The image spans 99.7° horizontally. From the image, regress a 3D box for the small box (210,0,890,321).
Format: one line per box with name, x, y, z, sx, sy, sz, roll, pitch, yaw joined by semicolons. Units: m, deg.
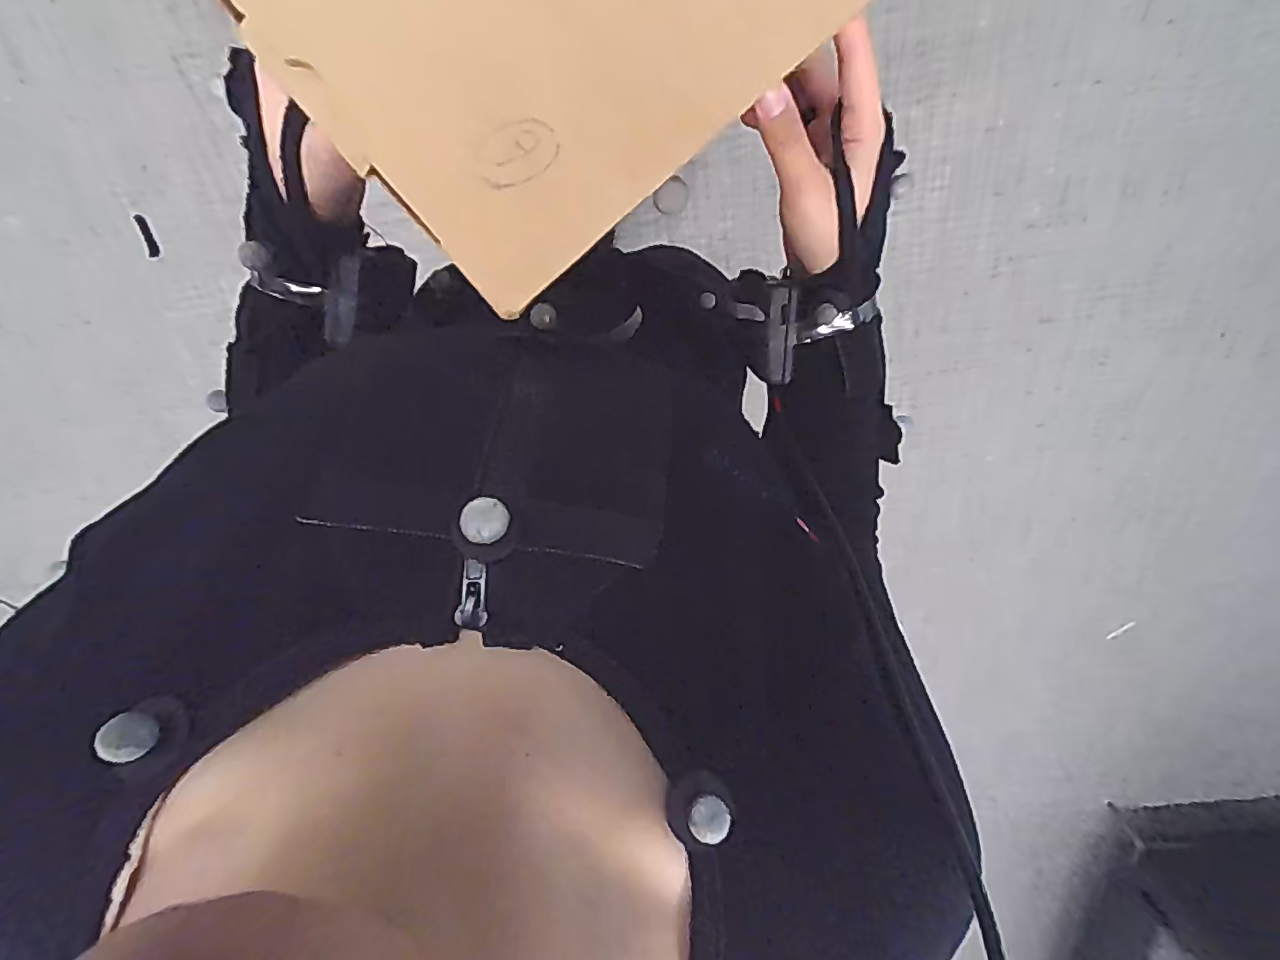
small box;-0.028;-0.193;0.209;0.179;0.176;0.168;-34;112;17
